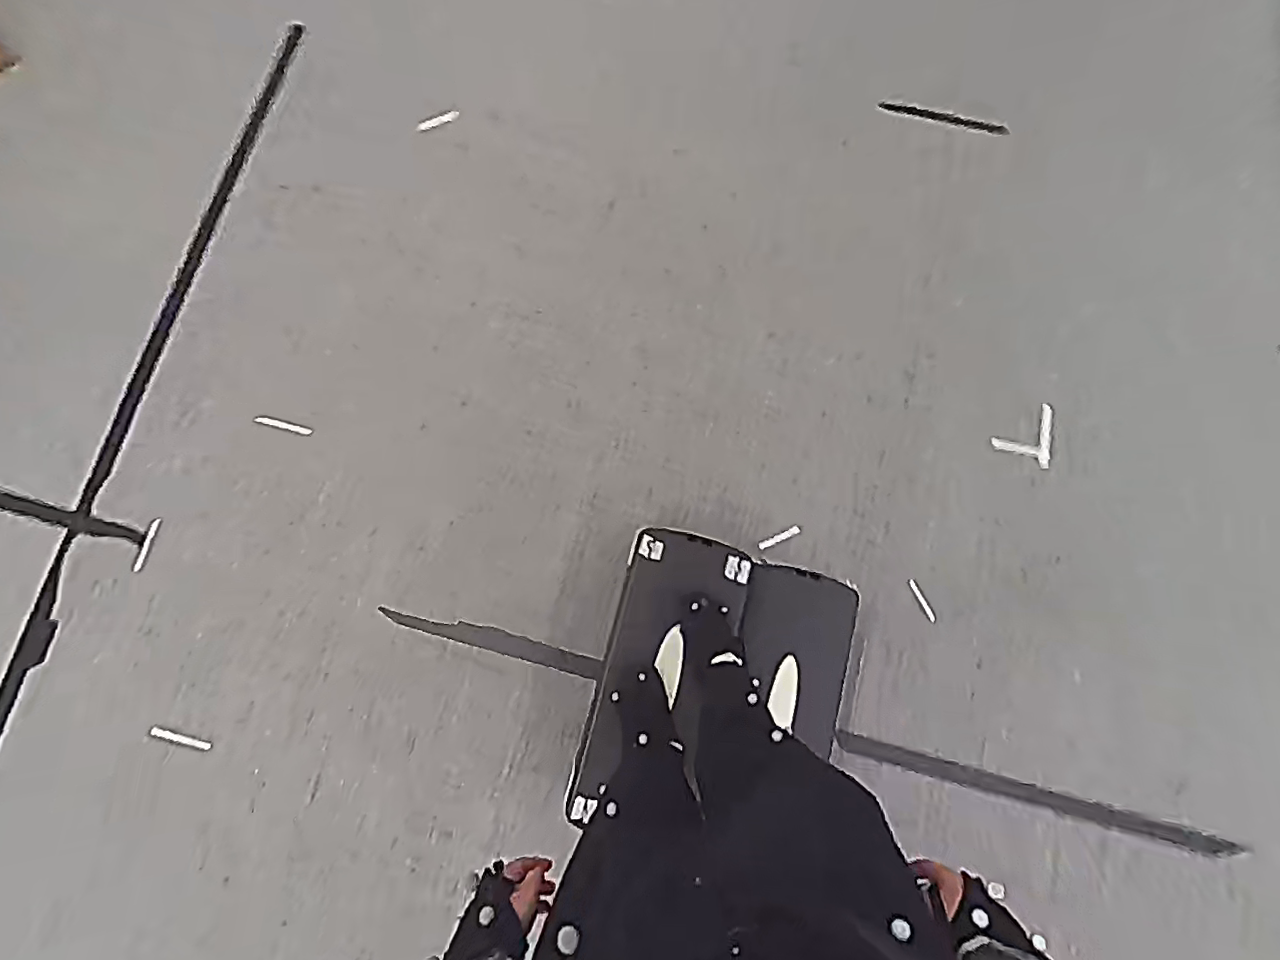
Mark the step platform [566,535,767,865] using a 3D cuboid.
[{"bbox_3d":[0.067,0.476,1.255,0.286,0.204,0.684,18,77,3],"label":"step platform"}]
